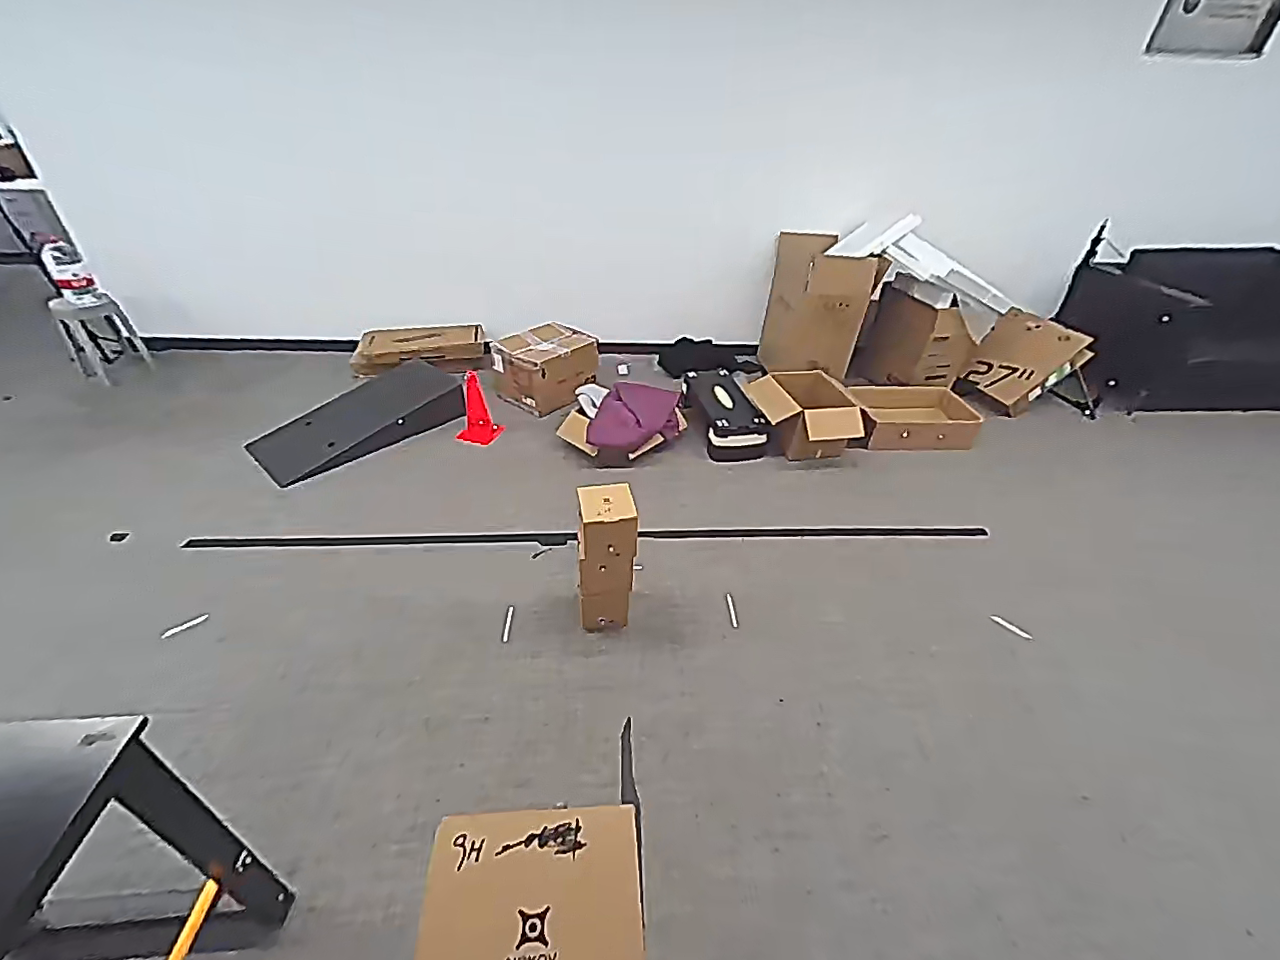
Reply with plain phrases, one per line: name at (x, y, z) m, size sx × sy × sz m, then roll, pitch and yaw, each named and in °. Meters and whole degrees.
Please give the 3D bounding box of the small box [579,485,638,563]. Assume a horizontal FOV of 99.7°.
small box at (-0.104, 0.138, 1.713) m, size 0.168 × 0.176 × 0.179 m, roll -6°, pitch 37°, yaw -10°

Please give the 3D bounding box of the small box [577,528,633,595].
small box at (-0.117, 0.268, 1.814) m, size 0.179 × 0.176 × 0.168 m, roll -3°, pitch 37°, yaw -7°

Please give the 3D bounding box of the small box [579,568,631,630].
small box at (-0.126, 0.403, 1.908) m, size 0.168 × 0.176 × 0.179 m, roll -5°, pitch 38°, yaw -9°

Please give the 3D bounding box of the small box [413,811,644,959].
small box at (-0.082, 0.397, 0.437) m, size 0.168 × 0.176 × 0.179 m, roll -1°, pitch 41°, yaw -6°
